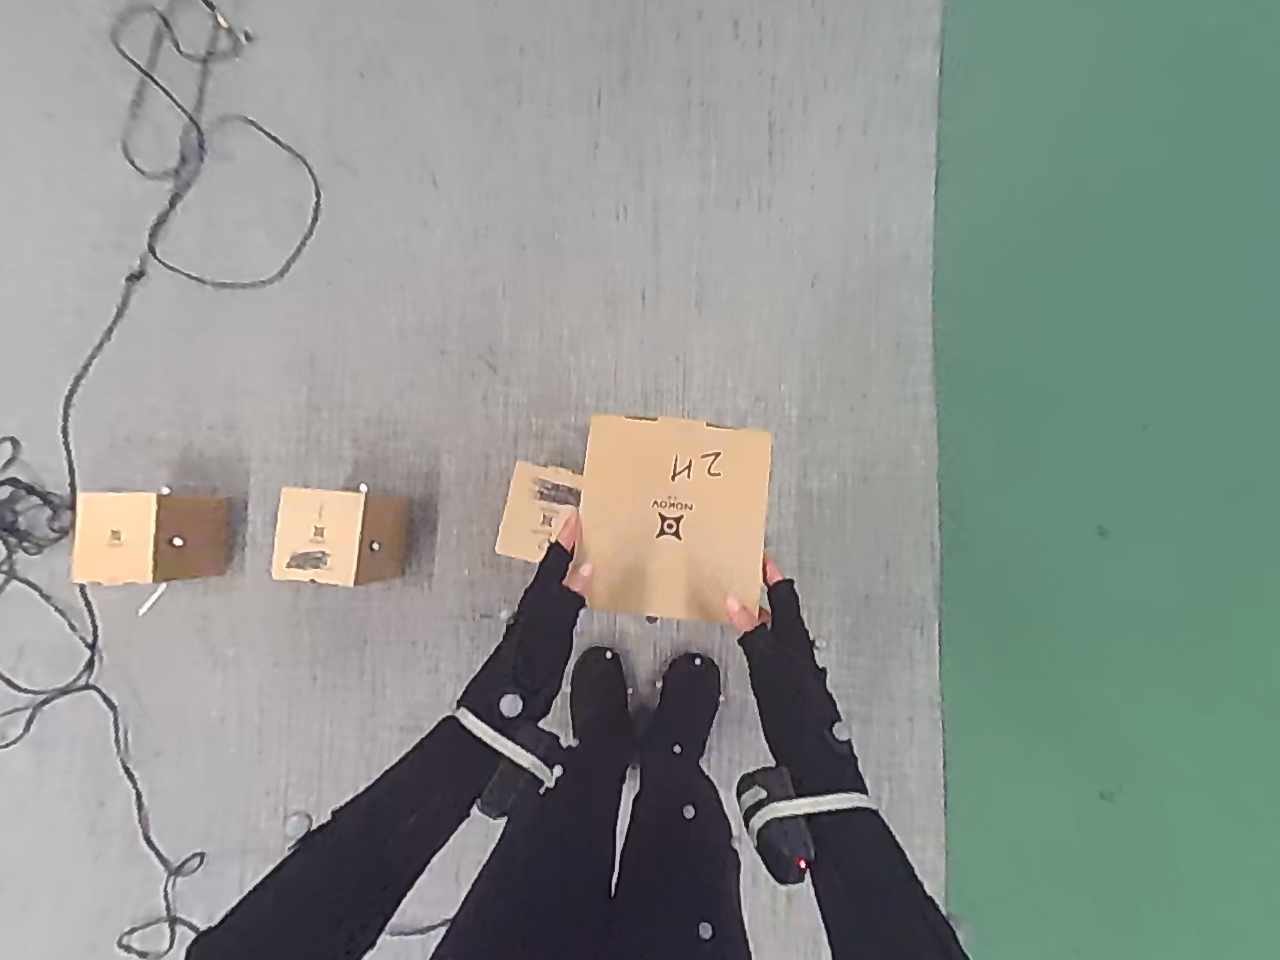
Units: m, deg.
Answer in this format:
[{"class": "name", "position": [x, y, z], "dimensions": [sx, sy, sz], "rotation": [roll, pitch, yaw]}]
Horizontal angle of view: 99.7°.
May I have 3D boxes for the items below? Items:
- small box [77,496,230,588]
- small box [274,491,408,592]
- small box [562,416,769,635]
[{"class": "small box", "position": [-0.990, 0.125, 1.116], "dimensions": [0.168, 0.176, 0.179], "rotation": [0, 86, 4]}, {"class": "small box", "position": [-0.588, 0.119, 1.084], "dimensions": [0.168, 0.176, 0.179], "rotation": [5, 86, 5]}, {"class": "small box", "position": [0.024, 0.048, 0.549], "dimensions": [0.168, 0.176, 0.179], "rotation": [6, 82, 0]}]
